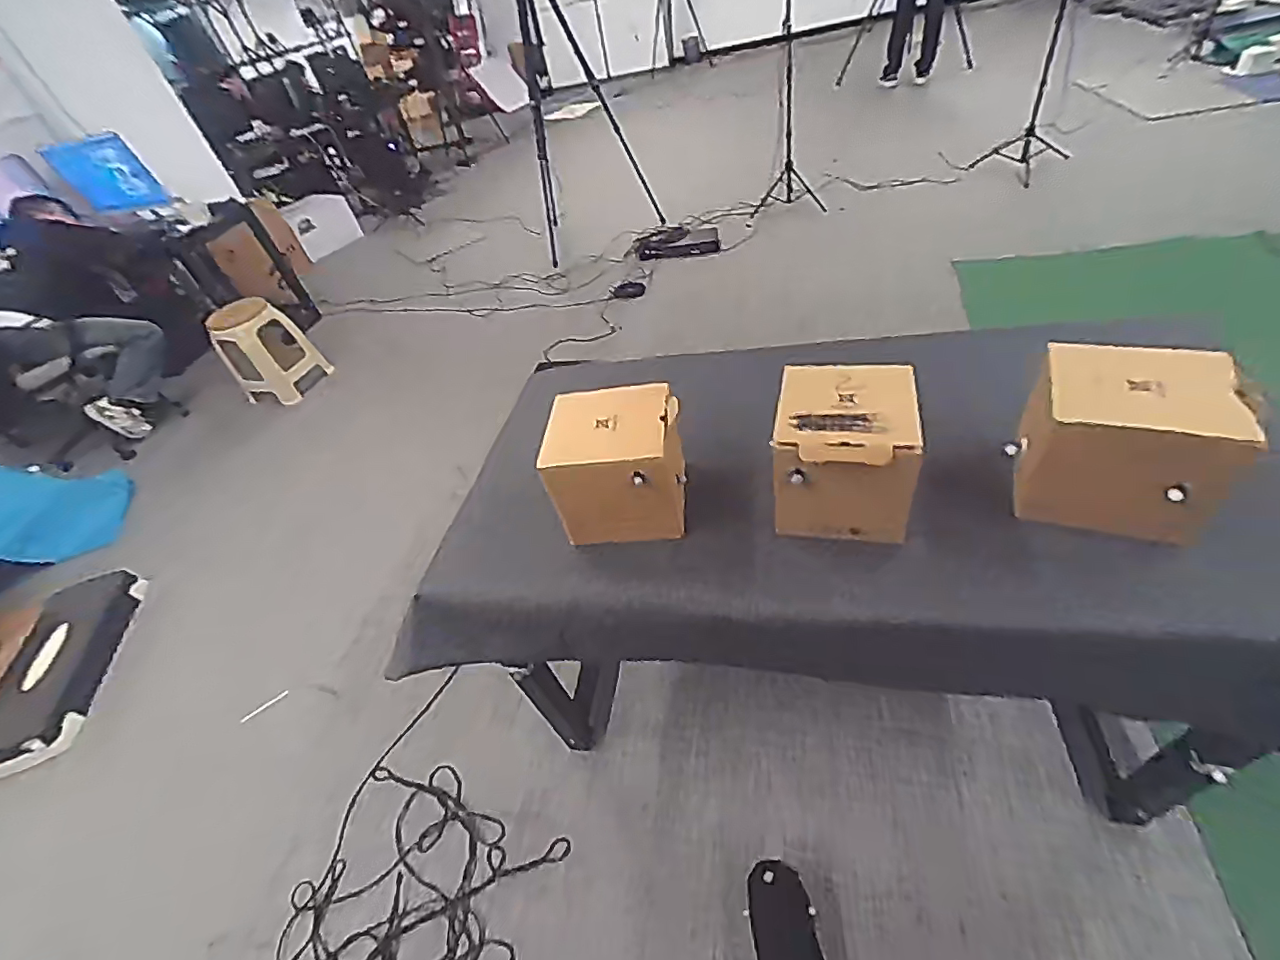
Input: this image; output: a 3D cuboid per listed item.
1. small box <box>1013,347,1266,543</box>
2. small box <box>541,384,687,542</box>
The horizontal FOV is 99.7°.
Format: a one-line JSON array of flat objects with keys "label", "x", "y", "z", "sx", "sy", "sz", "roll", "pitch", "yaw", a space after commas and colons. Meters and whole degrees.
[{"label": "small box", "x": 0.589, "y": -0.044, "z": 0.669, "sx": 0.179, "sy": 0.176, "sz": 0.168, "roll": 10, "pitch": 48, "yaw": 26}, {"label": "small box", "x": -0.028, "y": -0.021, "z": 0.812, "sx": 0.179, "sy": 0.176, "sz": 0.168, "roll": -5, "pitch": 44, "yaw": 9}]
